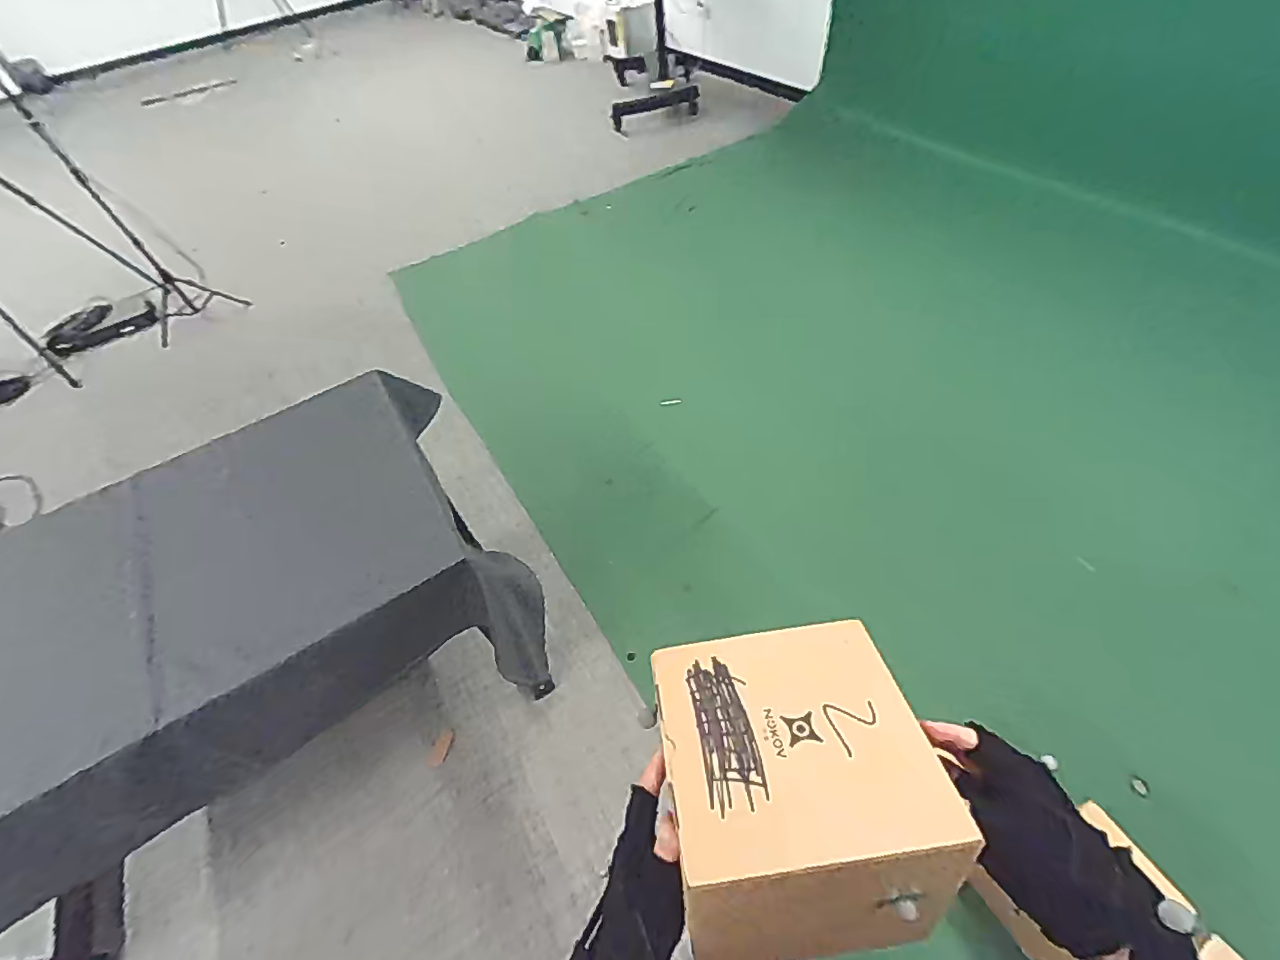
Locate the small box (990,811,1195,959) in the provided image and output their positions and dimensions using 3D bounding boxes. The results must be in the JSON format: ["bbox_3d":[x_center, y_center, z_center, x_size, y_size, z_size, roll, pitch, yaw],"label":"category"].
[{"bbox_3d":[0.758,0.709,0.930,0.168,0.176,0.179,-25,52,-11],"label":"small box"}]
